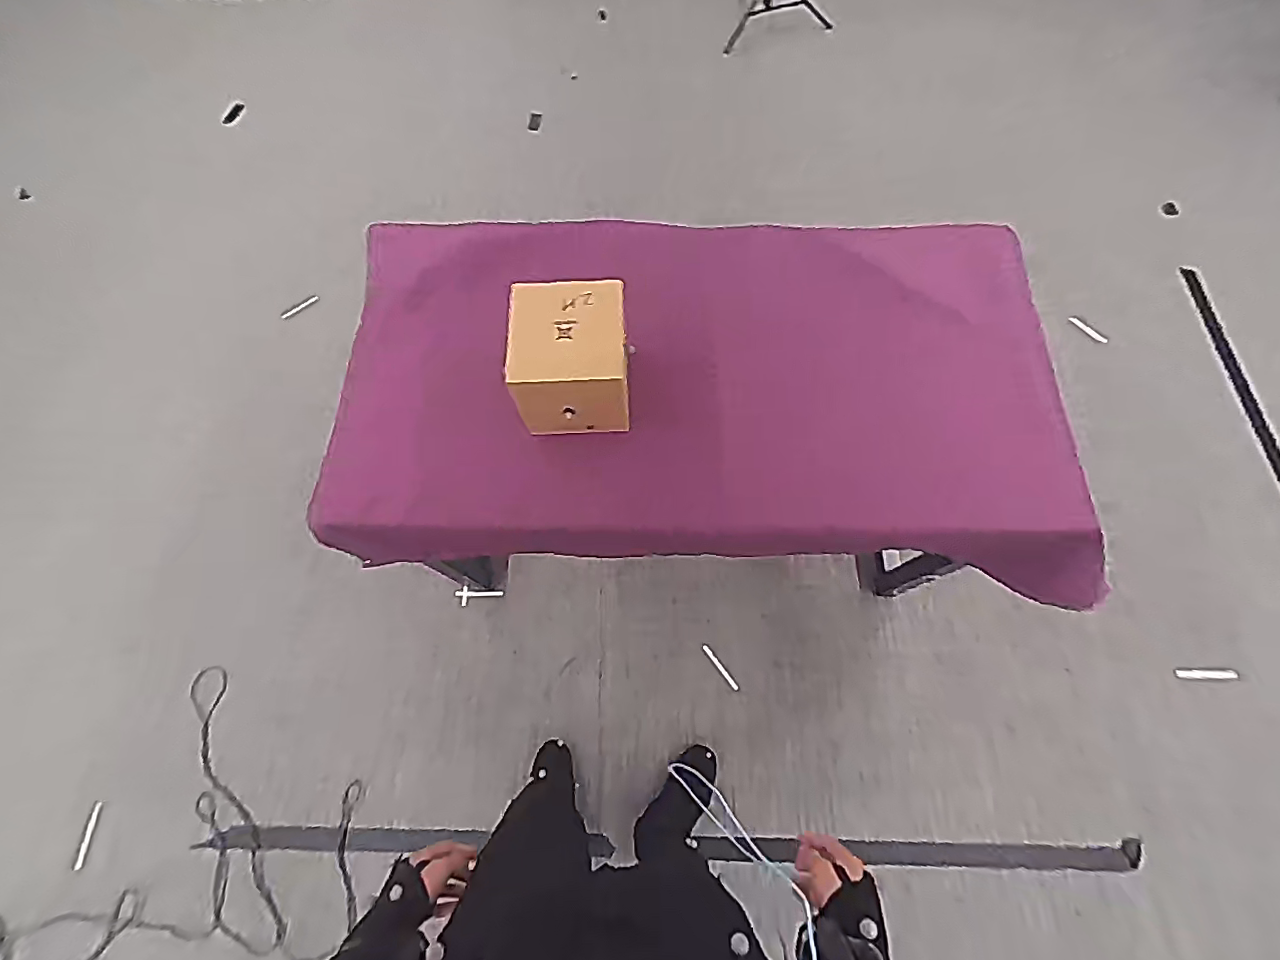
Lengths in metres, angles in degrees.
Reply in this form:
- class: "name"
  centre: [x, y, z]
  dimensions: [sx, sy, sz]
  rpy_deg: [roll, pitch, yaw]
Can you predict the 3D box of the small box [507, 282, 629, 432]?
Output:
- class: "small box"
  centre: [-0.102, -0.183, 0.848]
  dimensions: [0.168, 0.176, 0.179]
  rpy_deg: [-1, 69, 0]
